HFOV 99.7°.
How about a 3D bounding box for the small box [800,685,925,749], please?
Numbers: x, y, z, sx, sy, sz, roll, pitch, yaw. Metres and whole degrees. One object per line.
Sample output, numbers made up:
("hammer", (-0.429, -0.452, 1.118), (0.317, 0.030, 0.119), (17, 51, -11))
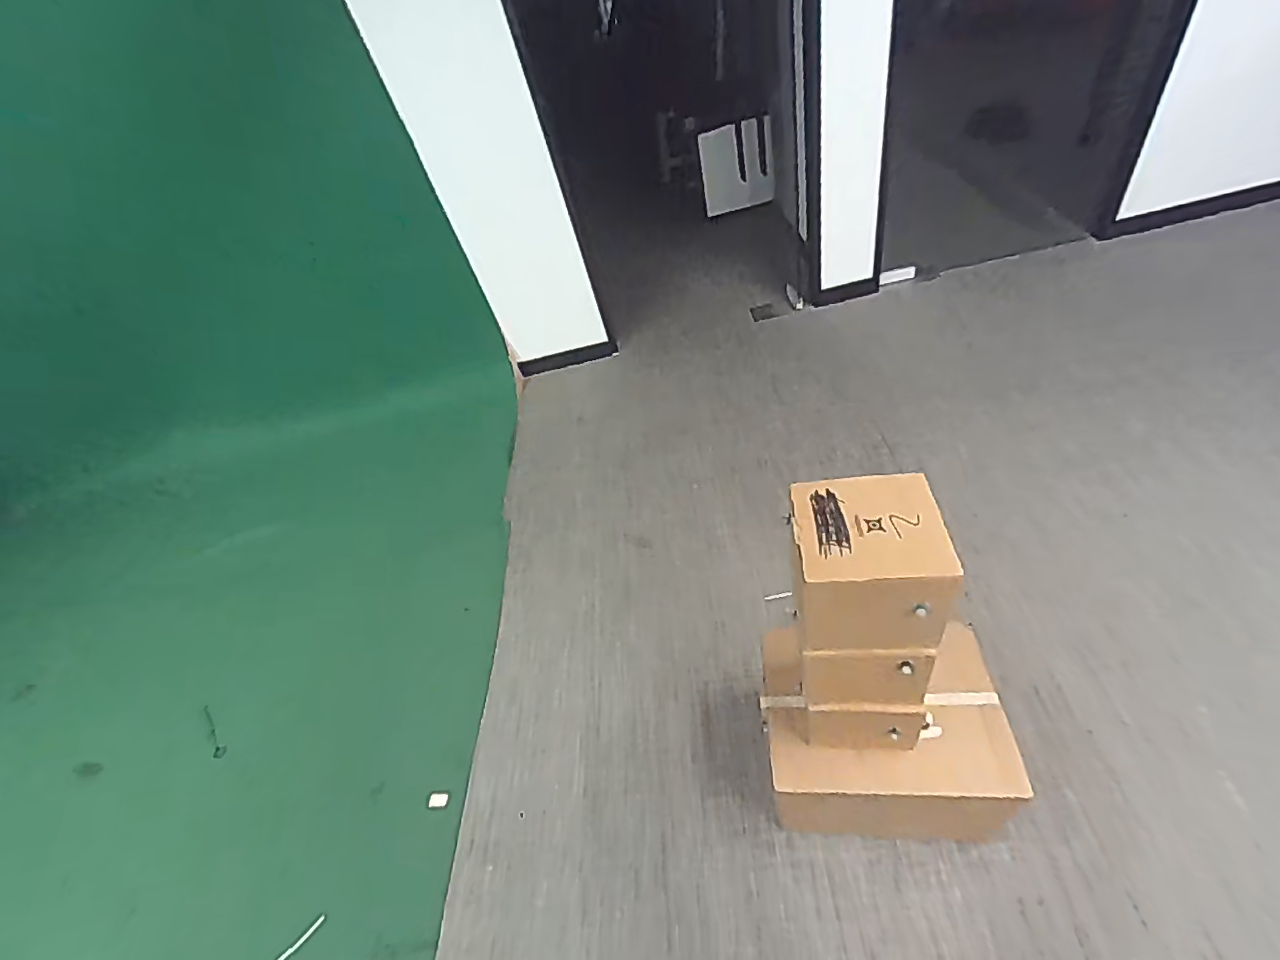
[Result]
("small box", (0.369, 0.352, 0.938), (0.179, 0.176, 0.168), (-6, 44, 14))

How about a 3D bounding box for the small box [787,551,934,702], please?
("small box", (0.328, 0.230, 0.837), (0.179, 0.176, 0.168), (-5, 45, 12))

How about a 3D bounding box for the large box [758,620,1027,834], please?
("large box", (0.464, 0.508, 1.102), (0.408, 0.320, 0.320), (-5, 47, 11))
